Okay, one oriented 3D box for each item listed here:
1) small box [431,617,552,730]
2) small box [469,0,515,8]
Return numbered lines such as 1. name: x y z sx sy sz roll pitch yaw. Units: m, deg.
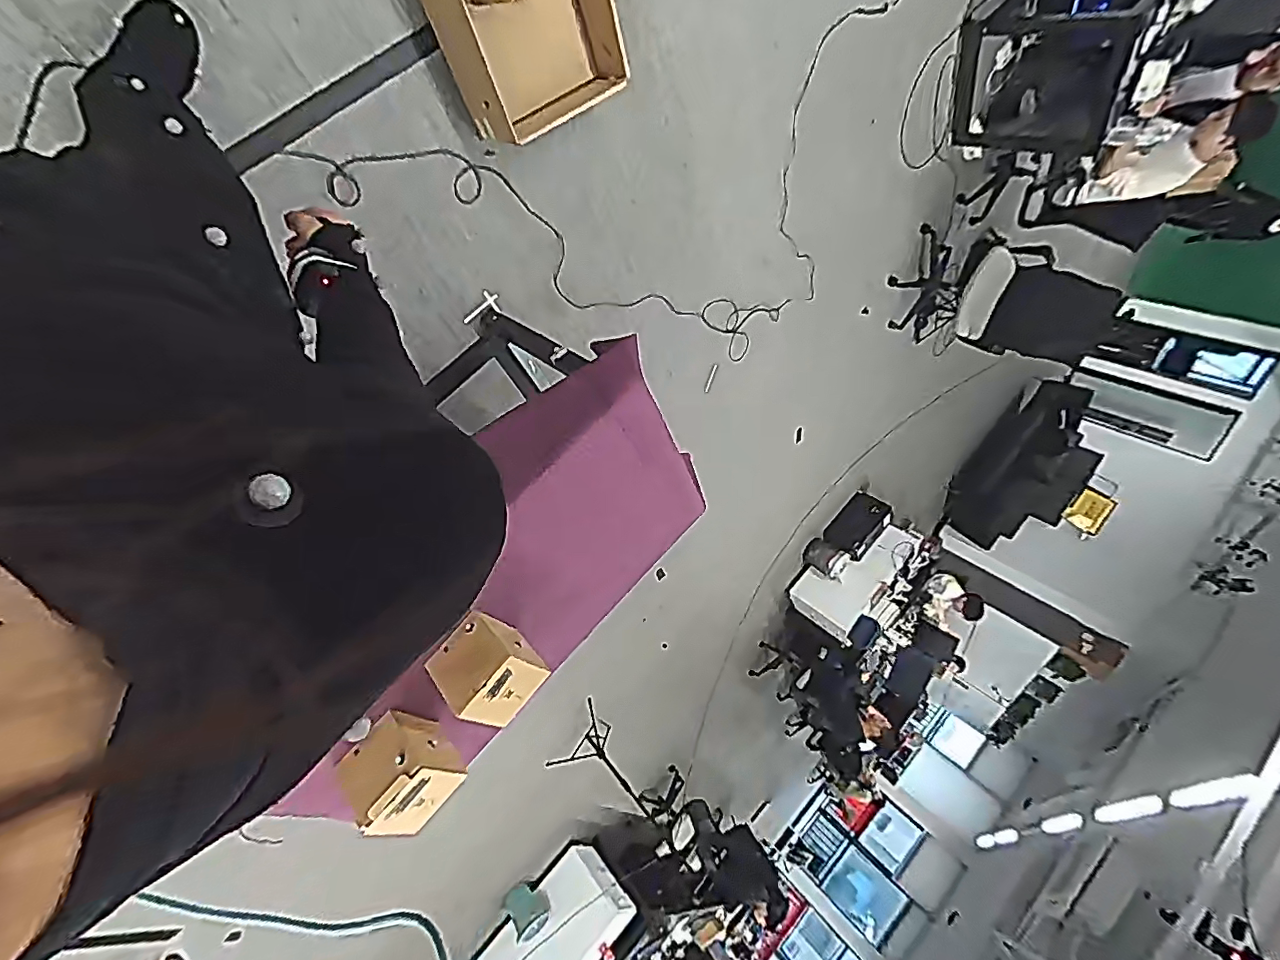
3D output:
1. small box: -0.344 0.441 1.246 0.168 0.176 0.179 -49 143 -8
2. small box: -0.312 -1.184 1.195 0.179 0.176 0.168 -45 143 -13
